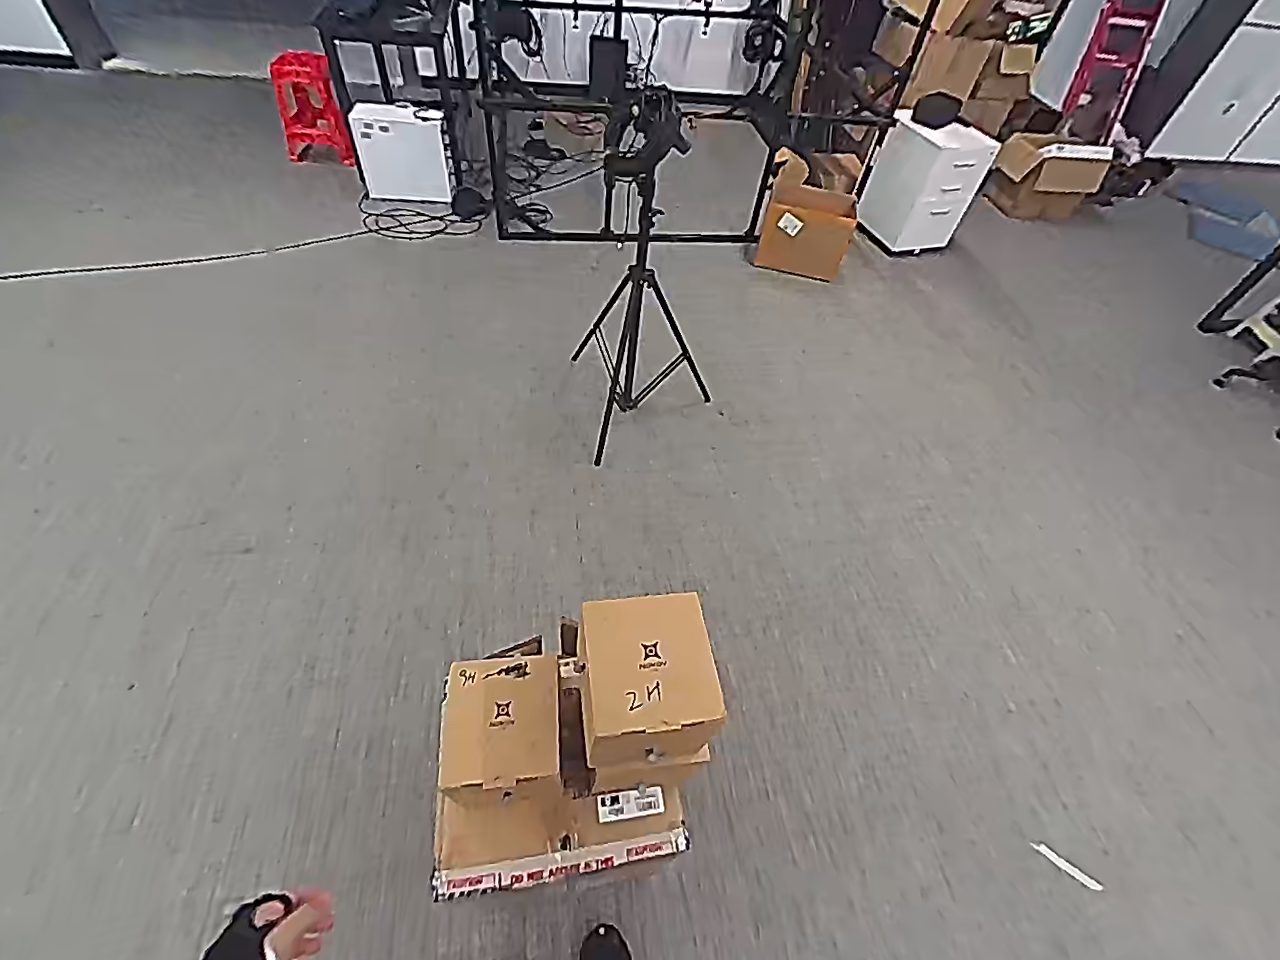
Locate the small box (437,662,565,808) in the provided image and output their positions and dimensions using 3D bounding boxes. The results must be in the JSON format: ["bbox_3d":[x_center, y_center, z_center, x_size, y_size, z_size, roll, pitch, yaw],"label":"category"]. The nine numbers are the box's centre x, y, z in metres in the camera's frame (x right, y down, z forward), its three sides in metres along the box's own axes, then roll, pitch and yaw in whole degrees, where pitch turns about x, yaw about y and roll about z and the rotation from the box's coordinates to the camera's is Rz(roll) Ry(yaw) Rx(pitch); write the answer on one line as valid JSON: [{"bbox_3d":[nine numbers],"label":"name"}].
[{"bbox_3d":[-0.205,0.403,0.846,0.168,0.176,0.179,-3,53,-7],"label":"small box"}]

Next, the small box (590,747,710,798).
[{"bbox_3d":[0.002,0.398,0.879,0.168,0.176,0.179,-1,53,-10],"label":"small box"}]

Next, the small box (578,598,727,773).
[{"bbox_3d":[0.004,0.286,0.756,0.168,0.176,0.179,-3,52,-11],"label":"small box"}]
